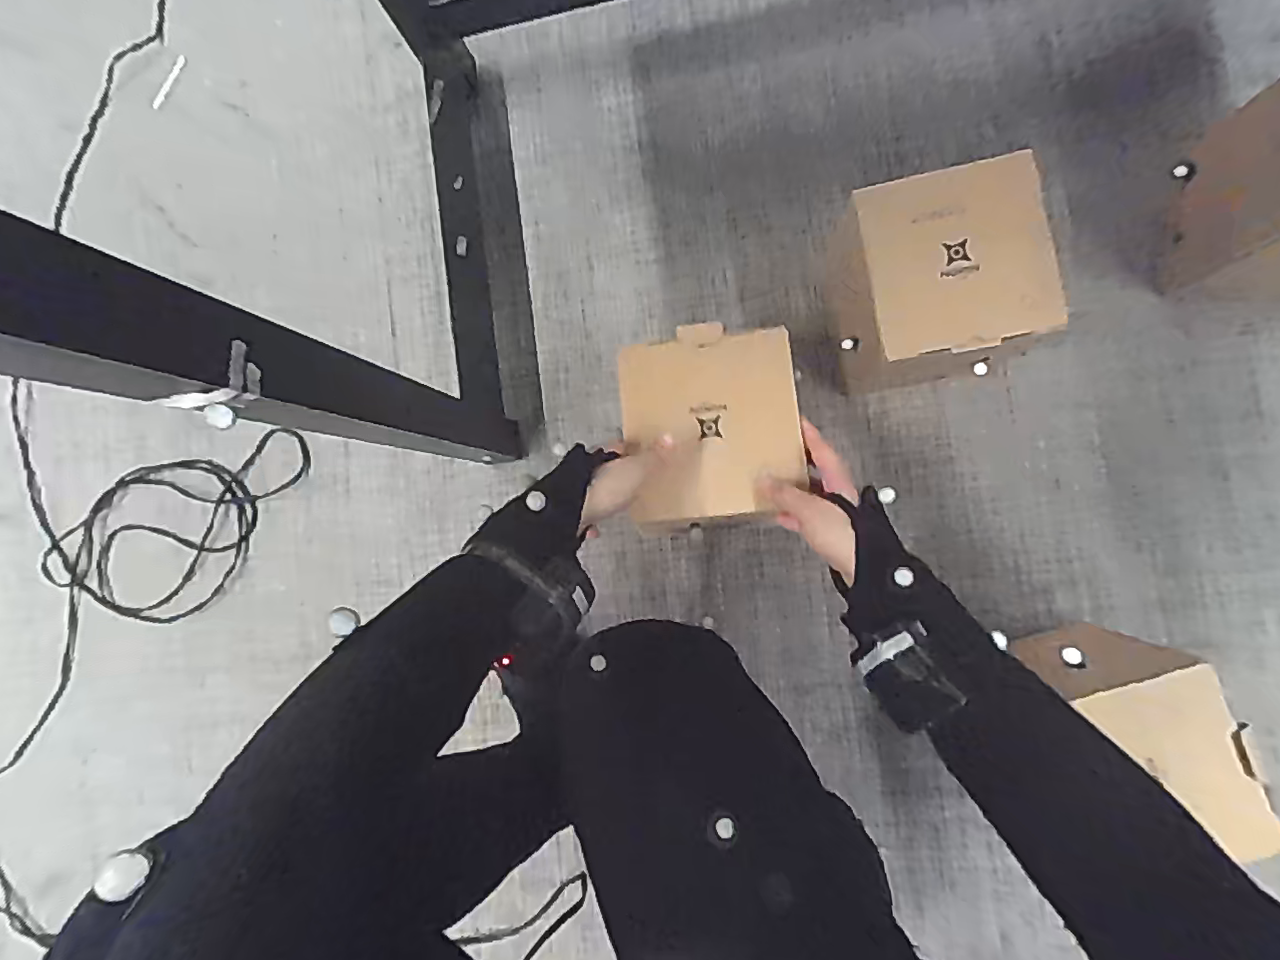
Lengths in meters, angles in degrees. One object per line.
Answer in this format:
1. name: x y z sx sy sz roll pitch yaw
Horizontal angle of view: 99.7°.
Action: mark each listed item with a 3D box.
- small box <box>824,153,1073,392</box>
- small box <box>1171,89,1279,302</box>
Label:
1. small box: 0.309 -0.201 0.583 0.168 0.176 0.179 -10 85 7
2. small box: 0.686 -0.284 0.532 0.179 0.176 0.168 6 88 8
